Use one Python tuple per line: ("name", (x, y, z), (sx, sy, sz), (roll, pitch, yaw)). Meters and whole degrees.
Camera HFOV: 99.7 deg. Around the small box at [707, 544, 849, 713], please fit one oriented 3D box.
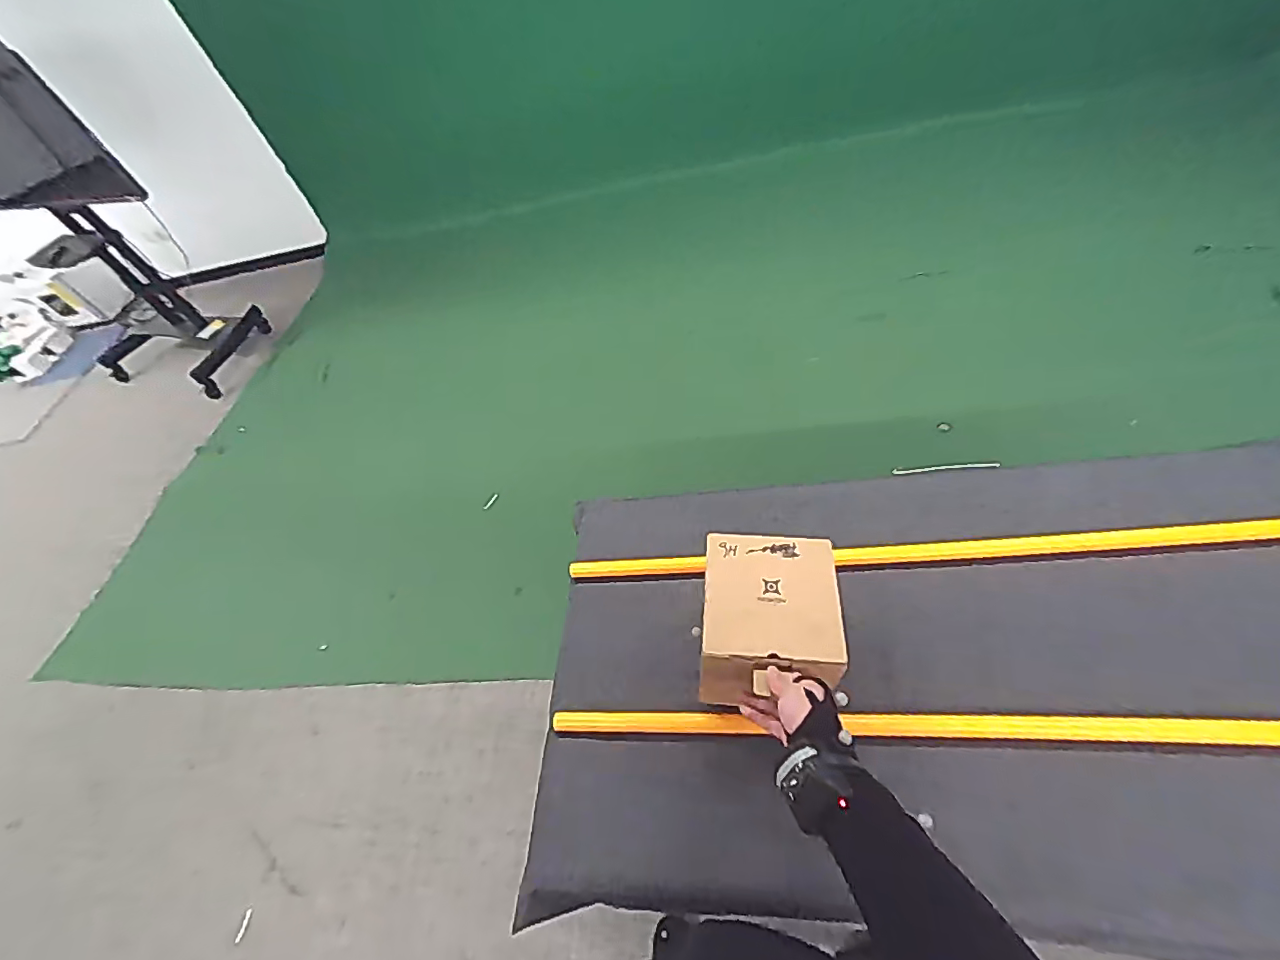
("small box", (0.177, 0.205, 0.741), (0.168, 0.176, 0.179), (-1, 49, 7))
